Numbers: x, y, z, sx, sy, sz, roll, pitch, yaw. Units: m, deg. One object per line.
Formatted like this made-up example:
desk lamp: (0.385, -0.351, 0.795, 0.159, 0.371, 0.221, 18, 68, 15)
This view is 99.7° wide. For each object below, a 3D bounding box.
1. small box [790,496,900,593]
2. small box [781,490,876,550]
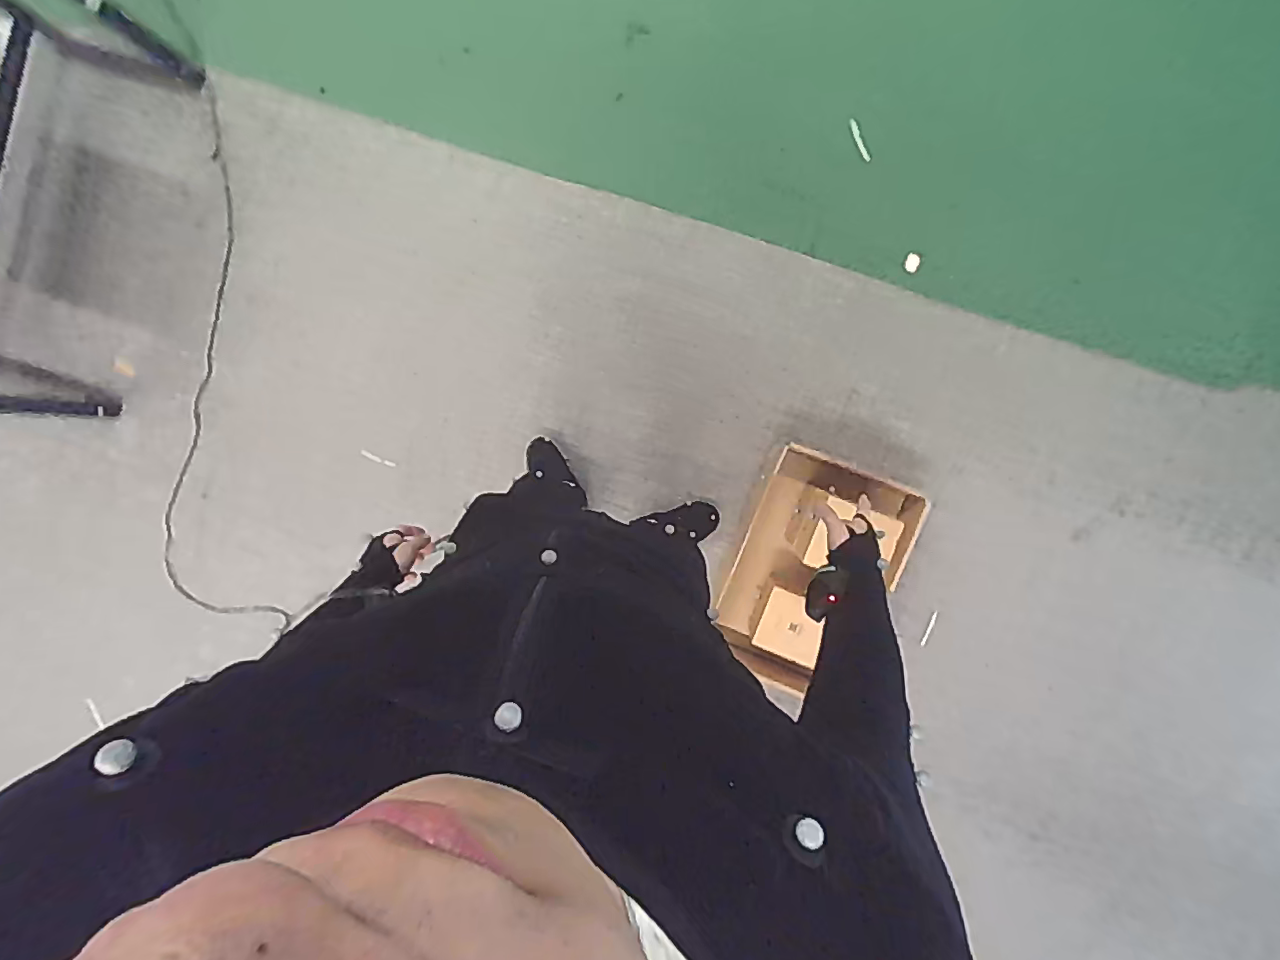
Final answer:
small box: (0.473, 0.144, 1.281, 0.179, 0.176, 0.168, 21, 95, 5)
small box: (0.493, 0.131, 1.442, 0.179, 0.176, 0.168, 22, 96, 4)
